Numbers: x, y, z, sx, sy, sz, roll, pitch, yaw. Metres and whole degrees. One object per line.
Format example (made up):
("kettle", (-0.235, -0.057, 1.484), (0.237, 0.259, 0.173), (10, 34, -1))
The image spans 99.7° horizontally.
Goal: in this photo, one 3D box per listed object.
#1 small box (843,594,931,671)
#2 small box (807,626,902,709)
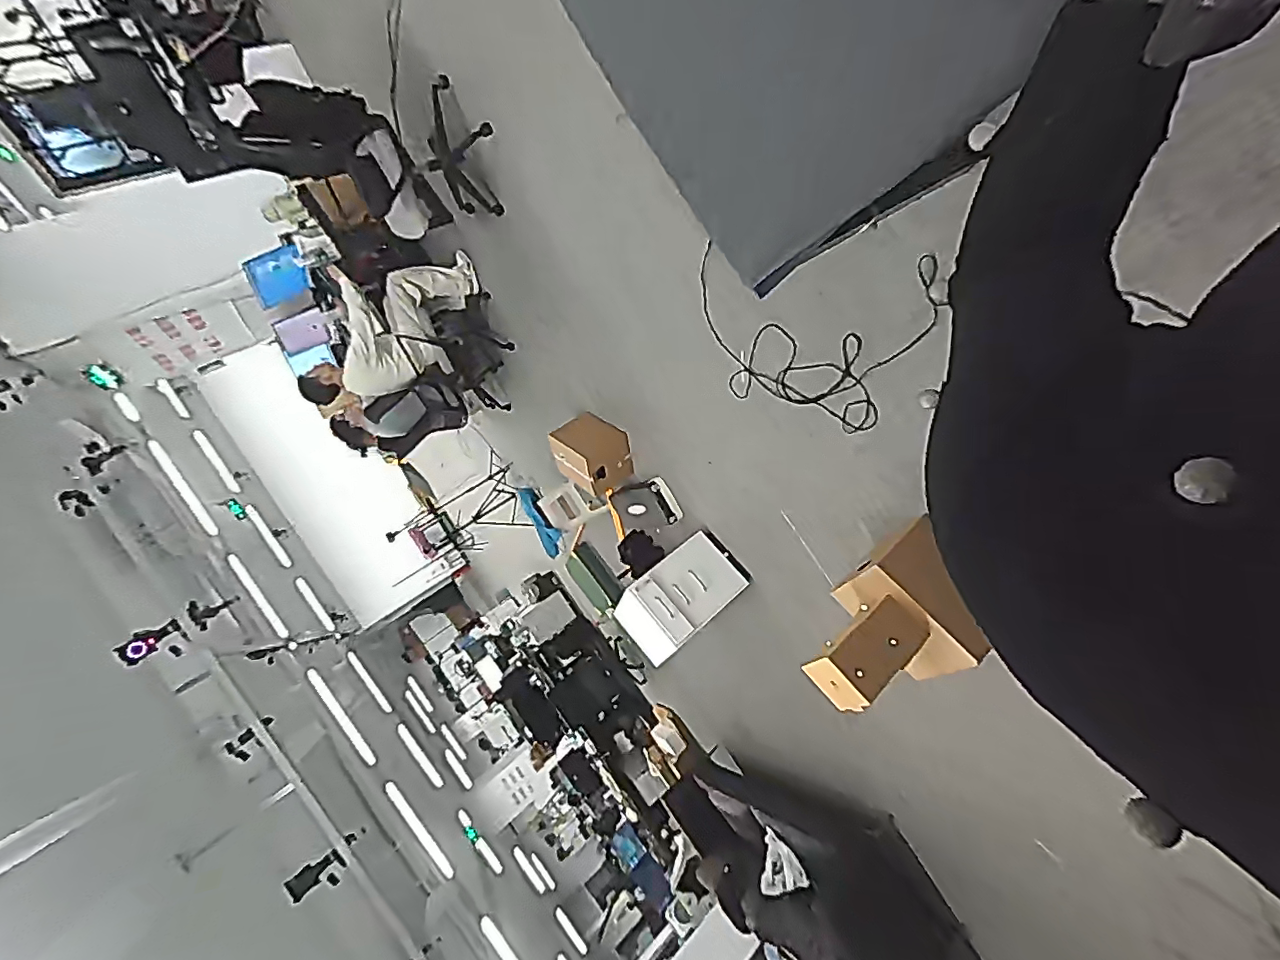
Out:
("small box", (0.793, 0.501, 1.745), (0.179, 0.176, 0.168), (48, 152, 15))
("small box", (0.664, 0.574, 1.676), (0.179, 0.176, 0.168), (48, 152, 14))
